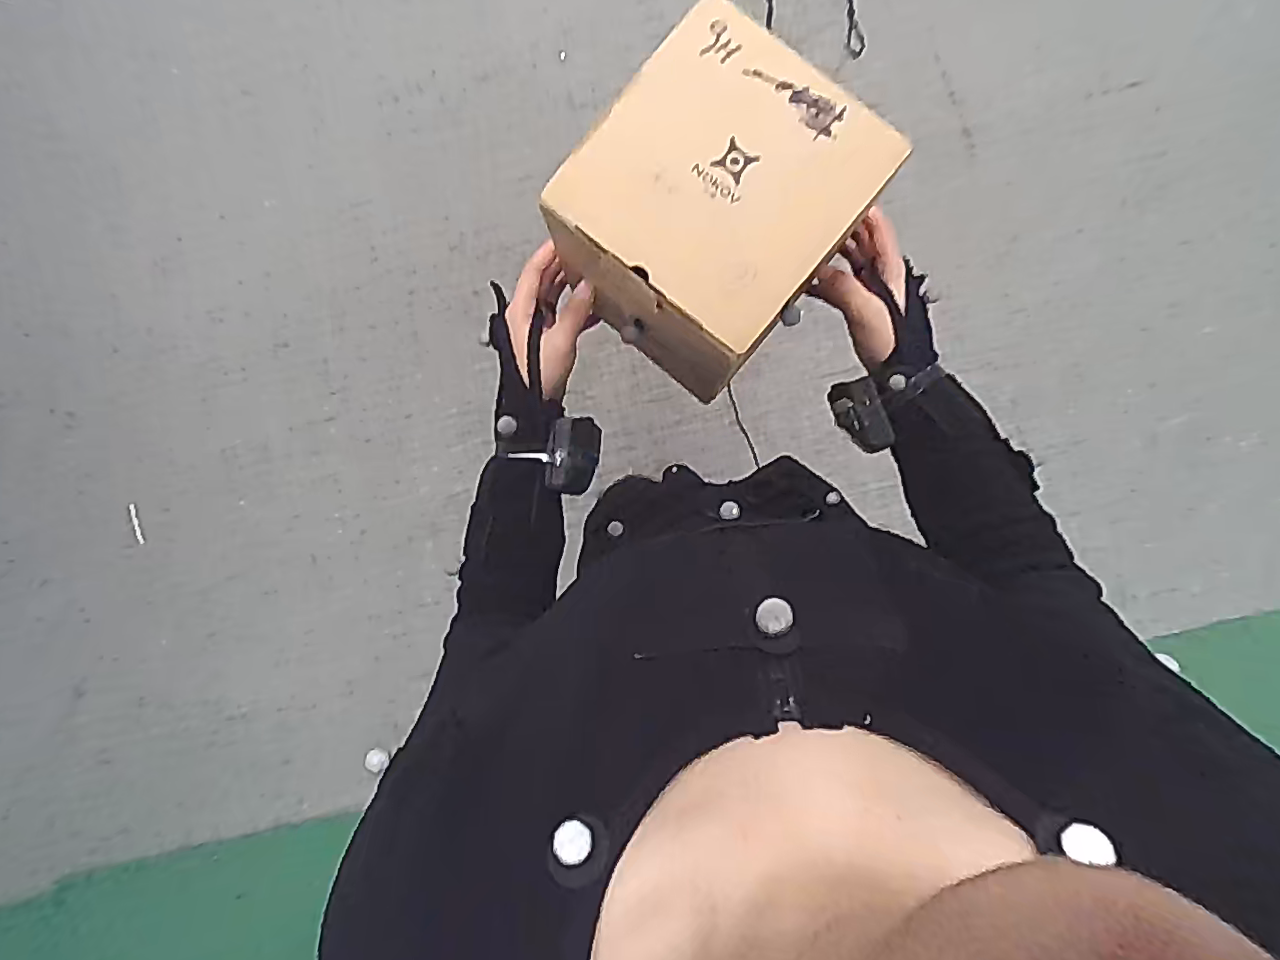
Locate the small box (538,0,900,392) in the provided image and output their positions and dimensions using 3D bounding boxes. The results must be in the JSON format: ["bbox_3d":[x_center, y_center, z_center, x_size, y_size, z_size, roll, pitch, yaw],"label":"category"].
[{"bbox_3d":[0.053,-0.192,0.423,0.168,0.176,0.179,40,90,2],"label":"small box"}]
